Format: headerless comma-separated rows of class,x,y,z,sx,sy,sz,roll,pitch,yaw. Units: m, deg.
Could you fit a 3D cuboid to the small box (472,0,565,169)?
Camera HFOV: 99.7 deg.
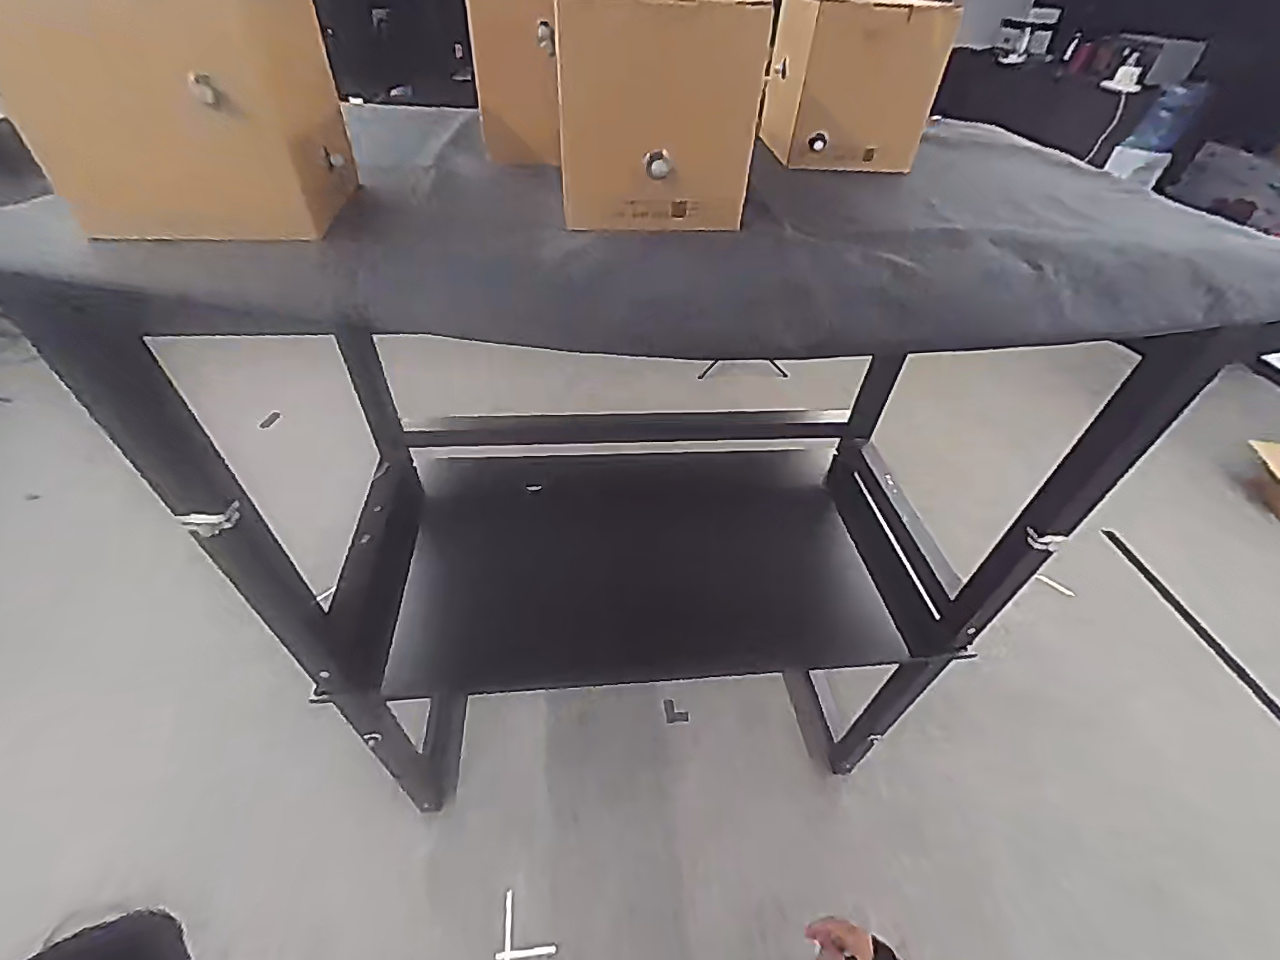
small box,-0.089,-0.490,0.659,0.179,0.176,0.168,2,44,-2

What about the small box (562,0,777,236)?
small box,0.010,-0.350,0.517,0.168,0.176,0.179,-3,44,-7

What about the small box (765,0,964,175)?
small box,0.274,-0.514,0.708,0.168,0.176,0.179,1,44,-4
